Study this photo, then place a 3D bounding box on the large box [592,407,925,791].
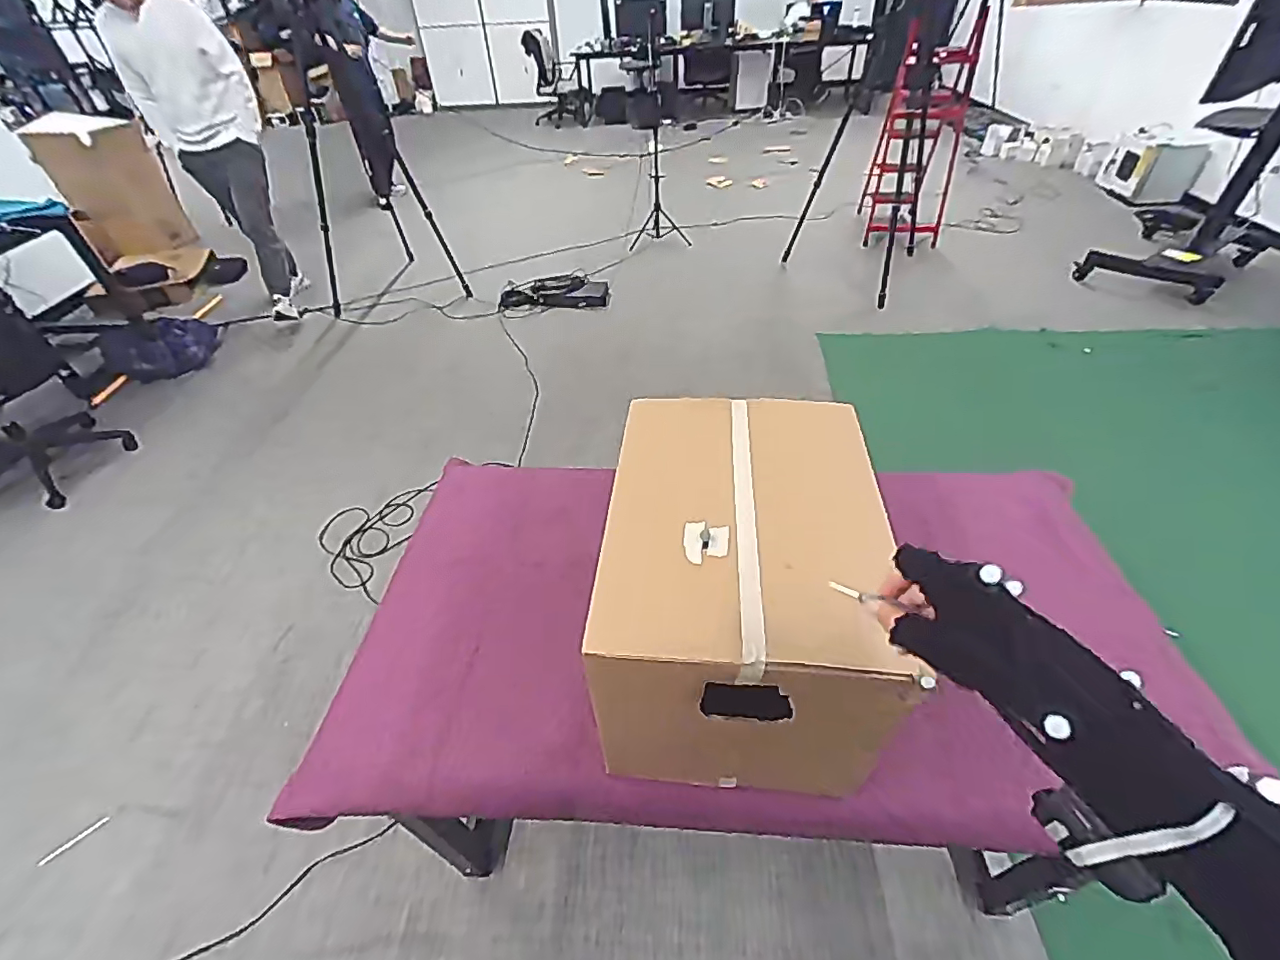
[{"bbox_3d":[0.126,0.146,0.740,0.320,0.320,0.408,3,44,6],"label":"large box"}]
